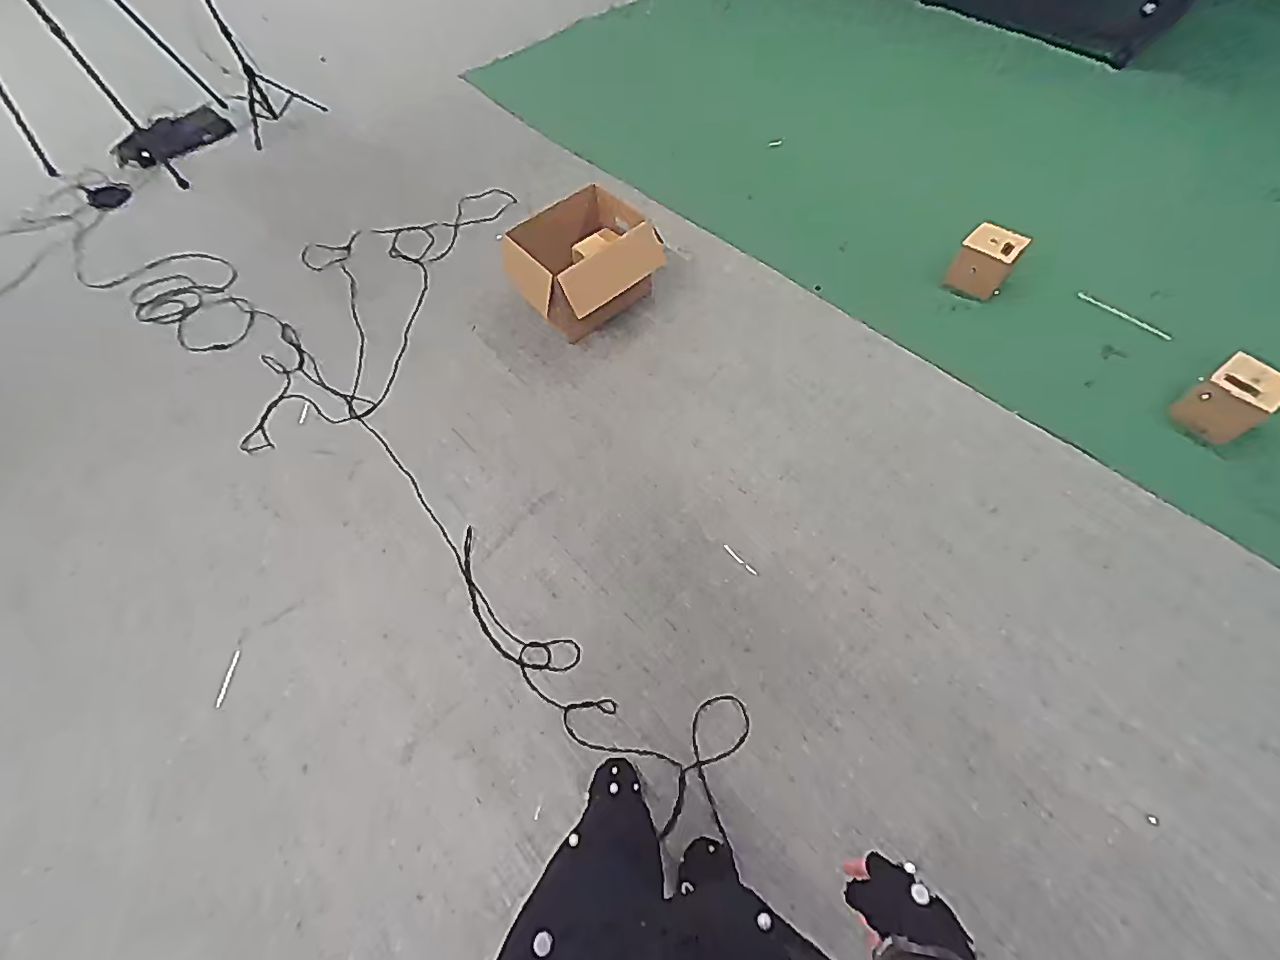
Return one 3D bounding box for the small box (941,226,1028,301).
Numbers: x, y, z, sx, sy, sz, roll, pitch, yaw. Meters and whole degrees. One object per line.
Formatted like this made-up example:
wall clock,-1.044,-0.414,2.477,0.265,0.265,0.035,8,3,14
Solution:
small box,1.242,-0.778,1.960,0.179,0.176,0.168,39,68,24
